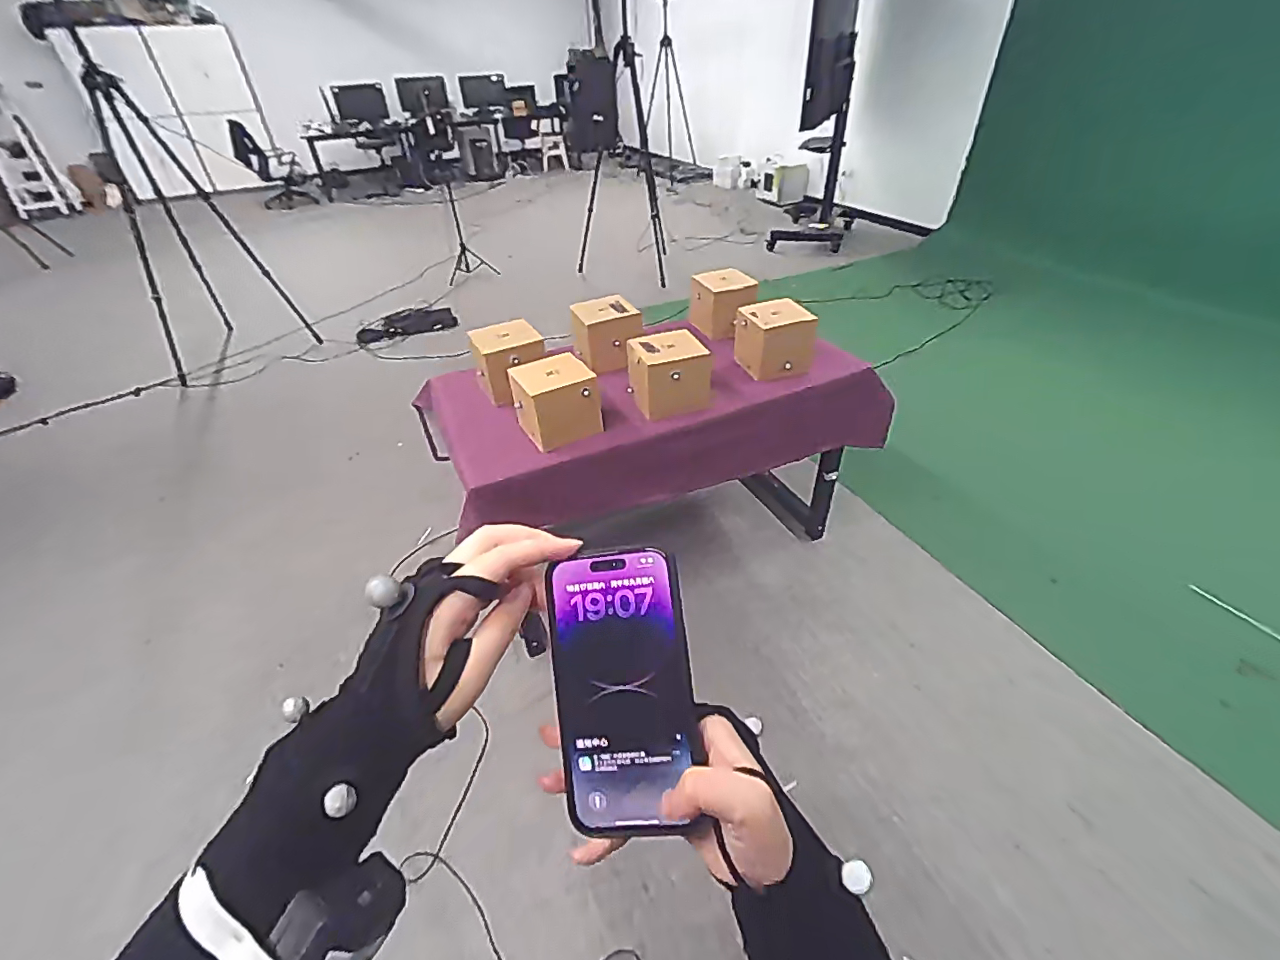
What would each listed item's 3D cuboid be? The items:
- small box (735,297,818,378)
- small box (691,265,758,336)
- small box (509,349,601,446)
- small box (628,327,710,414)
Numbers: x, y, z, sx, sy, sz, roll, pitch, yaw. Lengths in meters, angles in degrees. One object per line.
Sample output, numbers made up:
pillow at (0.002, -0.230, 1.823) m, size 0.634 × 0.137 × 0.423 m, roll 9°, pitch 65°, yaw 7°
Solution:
small box at (0.396, -0.424, 1.604) m, size 0.179 × 0.176 × 0.168 m, roll -13°, pitch 40°, yaw -13°
small box at (0.278, -0.607, 1.830) m, size 0.168 × 0.176 × 0.179 m, roll -16°, pitch 42°, yaw -15°
small box at (-0.213, -0.210, 1.381) m, size 0.179 × 0.176 × 0.168 m, roll -21°, pitch 43°, yaw -23°
small box at (0.076, -0.295, 1.467) m, size 0.179 × 0.176 × 0.168 m, roll -13°, pitch 41°, yaw -14°
